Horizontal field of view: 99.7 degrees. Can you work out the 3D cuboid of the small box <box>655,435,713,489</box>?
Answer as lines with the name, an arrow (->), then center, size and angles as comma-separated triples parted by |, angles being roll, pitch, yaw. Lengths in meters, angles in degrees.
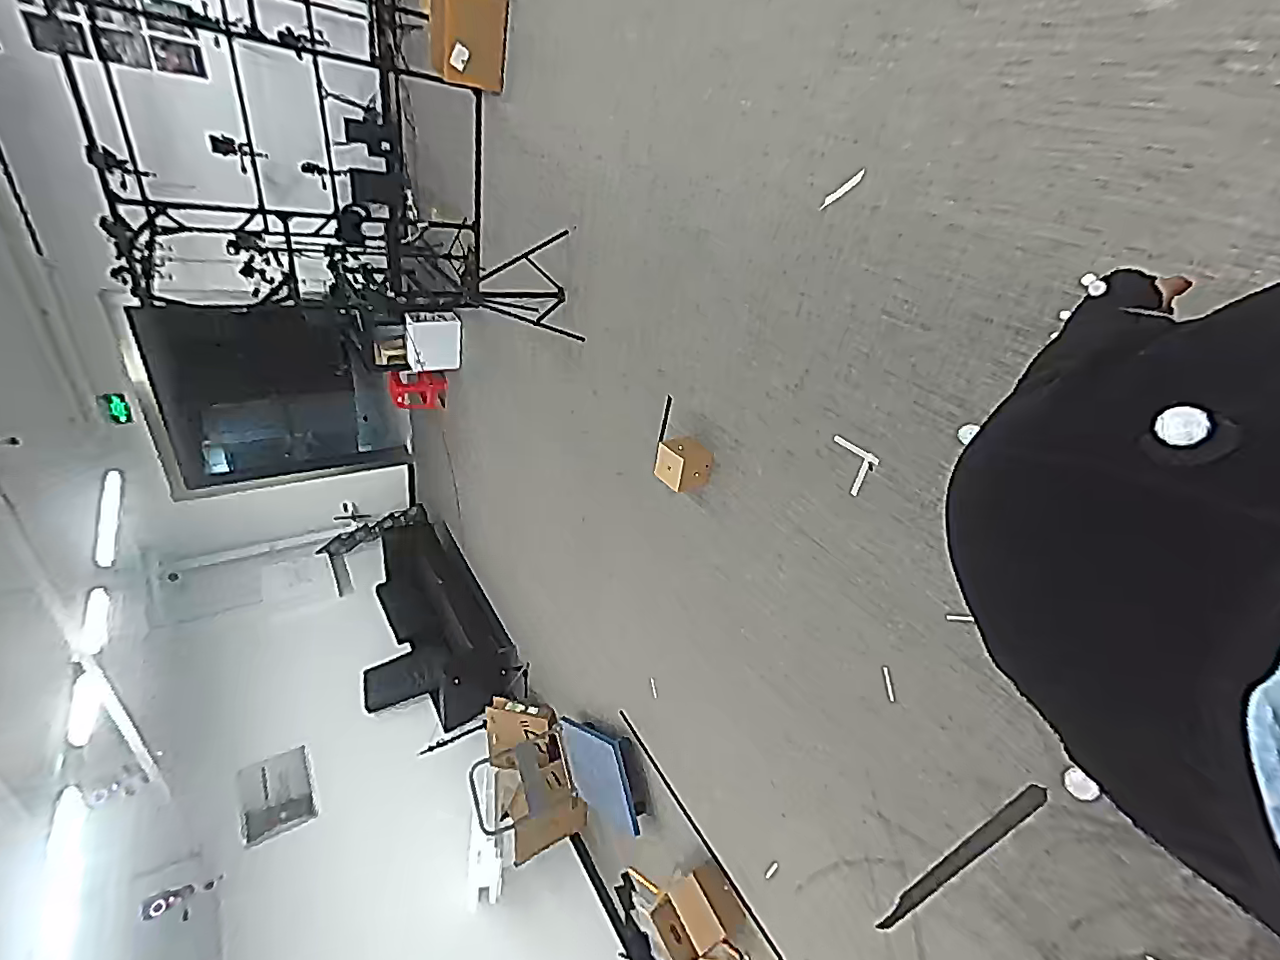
small box -> 0.193, -0.084, 2.358 | 0.179, 0.176, 0.168 | 41, 133, 43
